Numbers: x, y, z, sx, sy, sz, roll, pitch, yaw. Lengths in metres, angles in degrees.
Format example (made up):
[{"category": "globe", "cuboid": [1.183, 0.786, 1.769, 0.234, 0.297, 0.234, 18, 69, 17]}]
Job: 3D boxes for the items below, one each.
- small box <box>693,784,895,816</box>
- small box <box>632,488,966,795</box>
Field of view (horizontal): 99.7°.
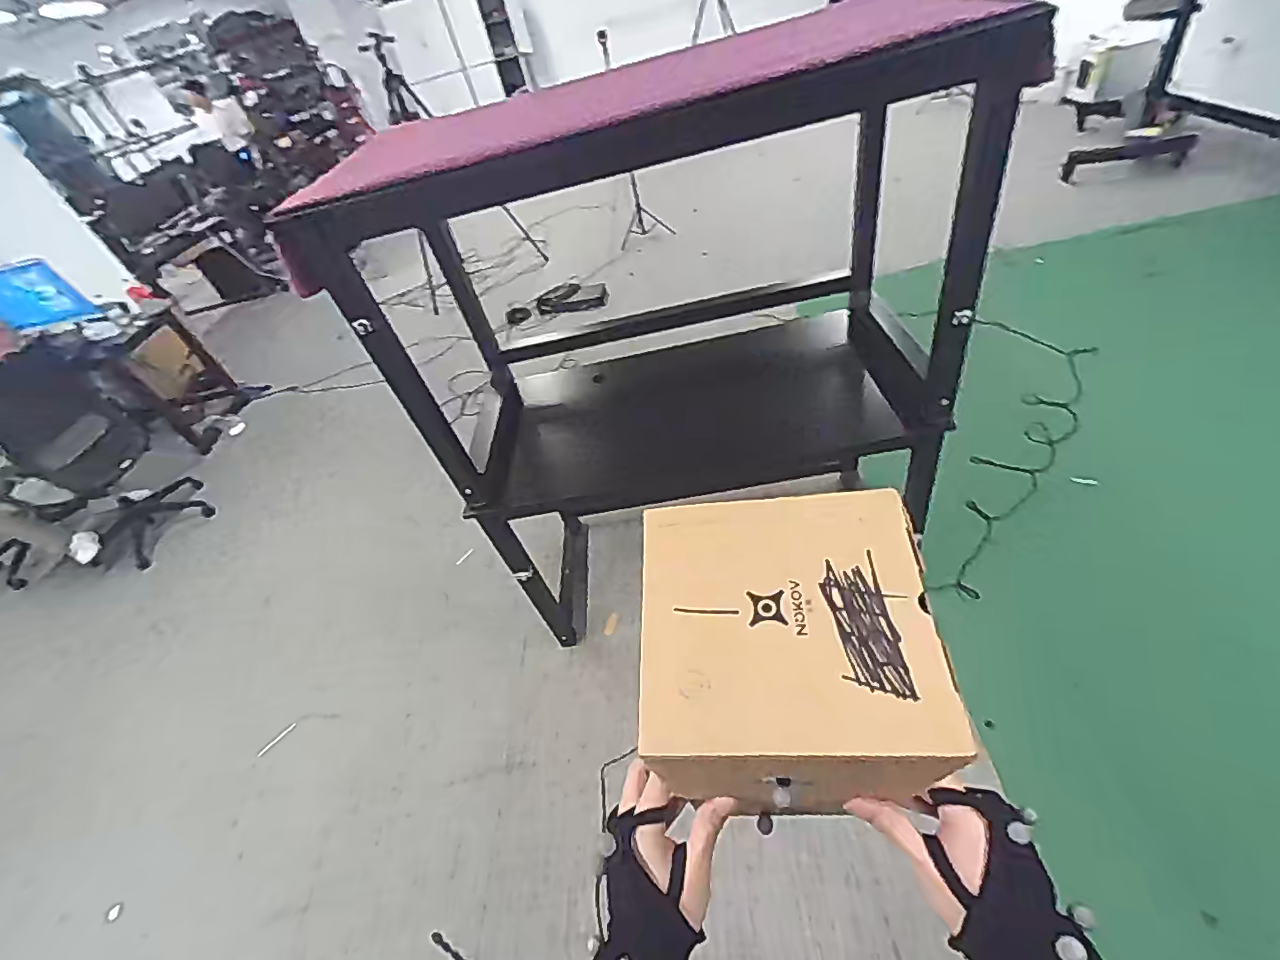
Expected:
[{"category": "small box", "cuboid": [0.126, 0.216, 0.528, 0.168, 0.176, 0.179, -6, 53, 9]}, {"category": "small box", "cuboid": [0.097, 0.124, 0.396, 0.179, 0.176, 0.168, -5, 52, 10]}]
